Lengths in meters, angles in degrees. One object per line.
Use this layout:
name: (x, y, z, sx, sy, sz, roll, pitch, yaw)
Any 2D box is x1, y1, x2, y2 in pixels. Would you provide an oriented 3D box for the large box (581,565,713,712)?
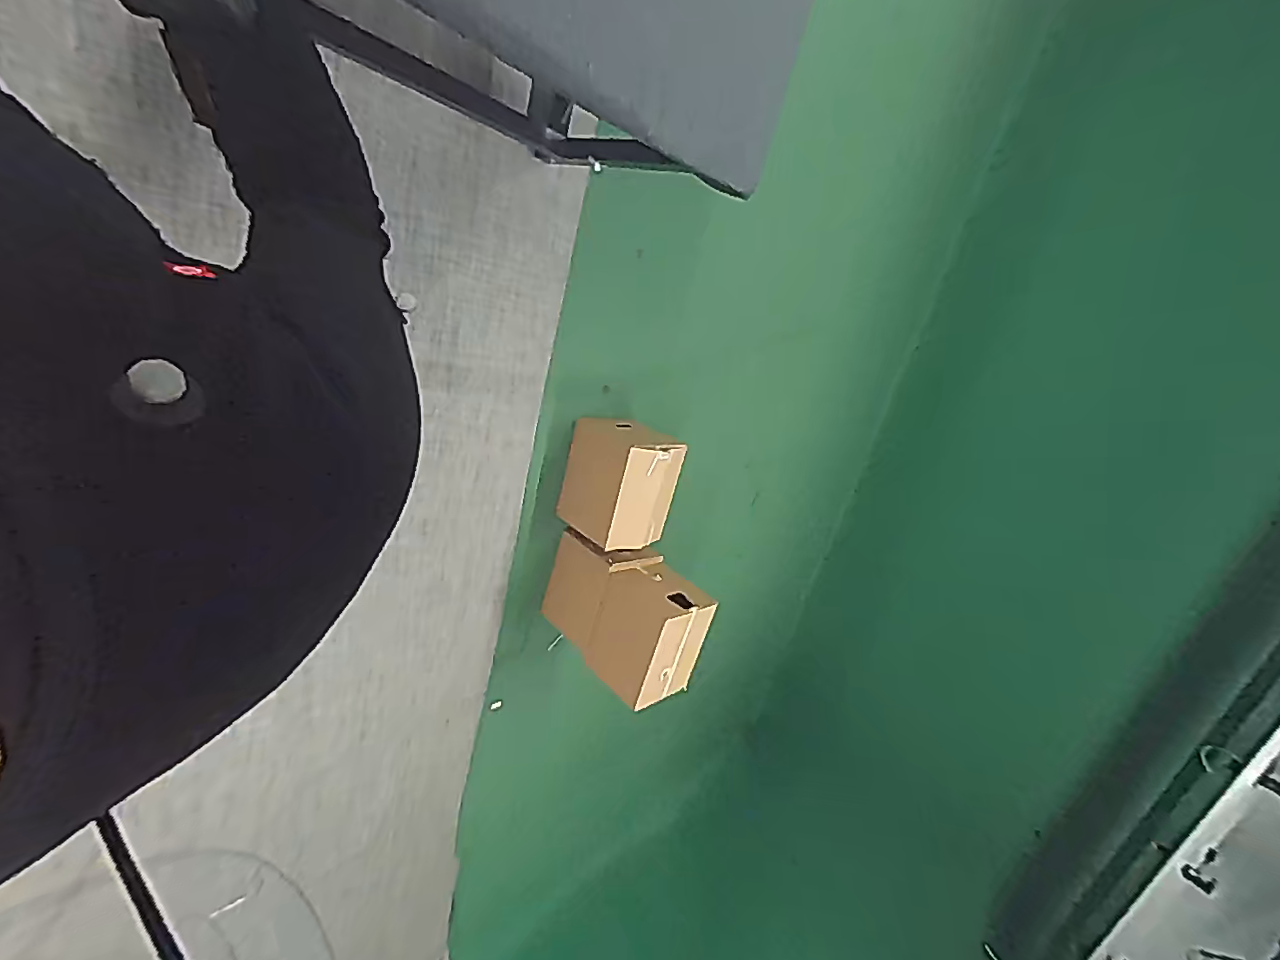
large box: (0.020, 0.592, 2.087, 0.320, 0.320, 0.408, -1, 115, -46)
